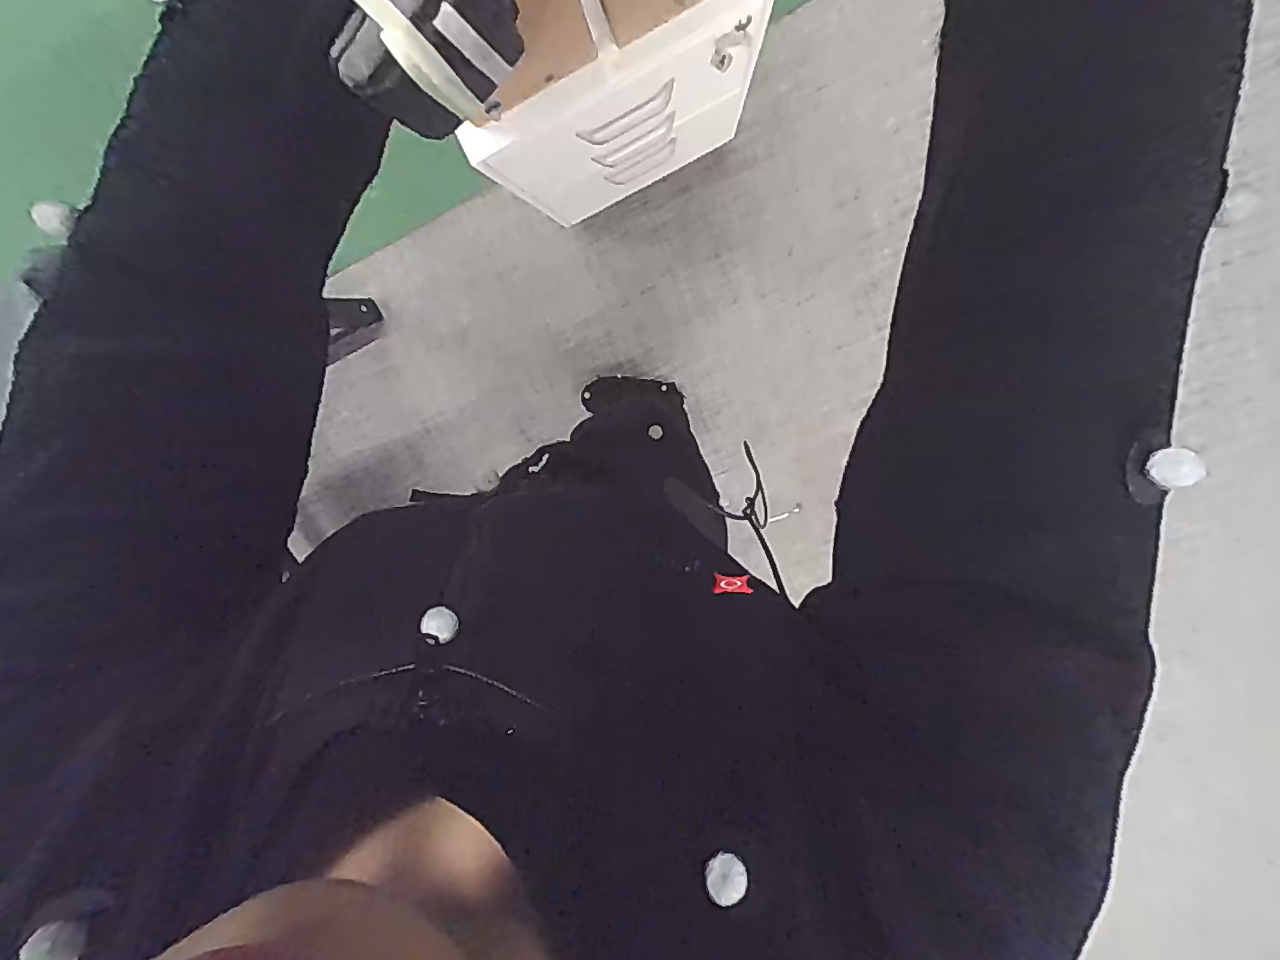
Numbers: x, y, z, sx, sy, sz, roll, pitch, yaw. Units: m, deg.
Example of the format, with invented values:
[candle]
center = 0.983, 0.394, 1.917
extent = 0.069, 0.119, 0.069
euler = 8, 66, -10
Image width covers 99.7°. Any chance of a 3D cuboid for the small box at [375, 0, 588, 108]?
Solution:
[small box]
center = -0.165, -0.502, 0.525
extent = 0.168, 0.176, 0.179
euler = -23, 104, 10
